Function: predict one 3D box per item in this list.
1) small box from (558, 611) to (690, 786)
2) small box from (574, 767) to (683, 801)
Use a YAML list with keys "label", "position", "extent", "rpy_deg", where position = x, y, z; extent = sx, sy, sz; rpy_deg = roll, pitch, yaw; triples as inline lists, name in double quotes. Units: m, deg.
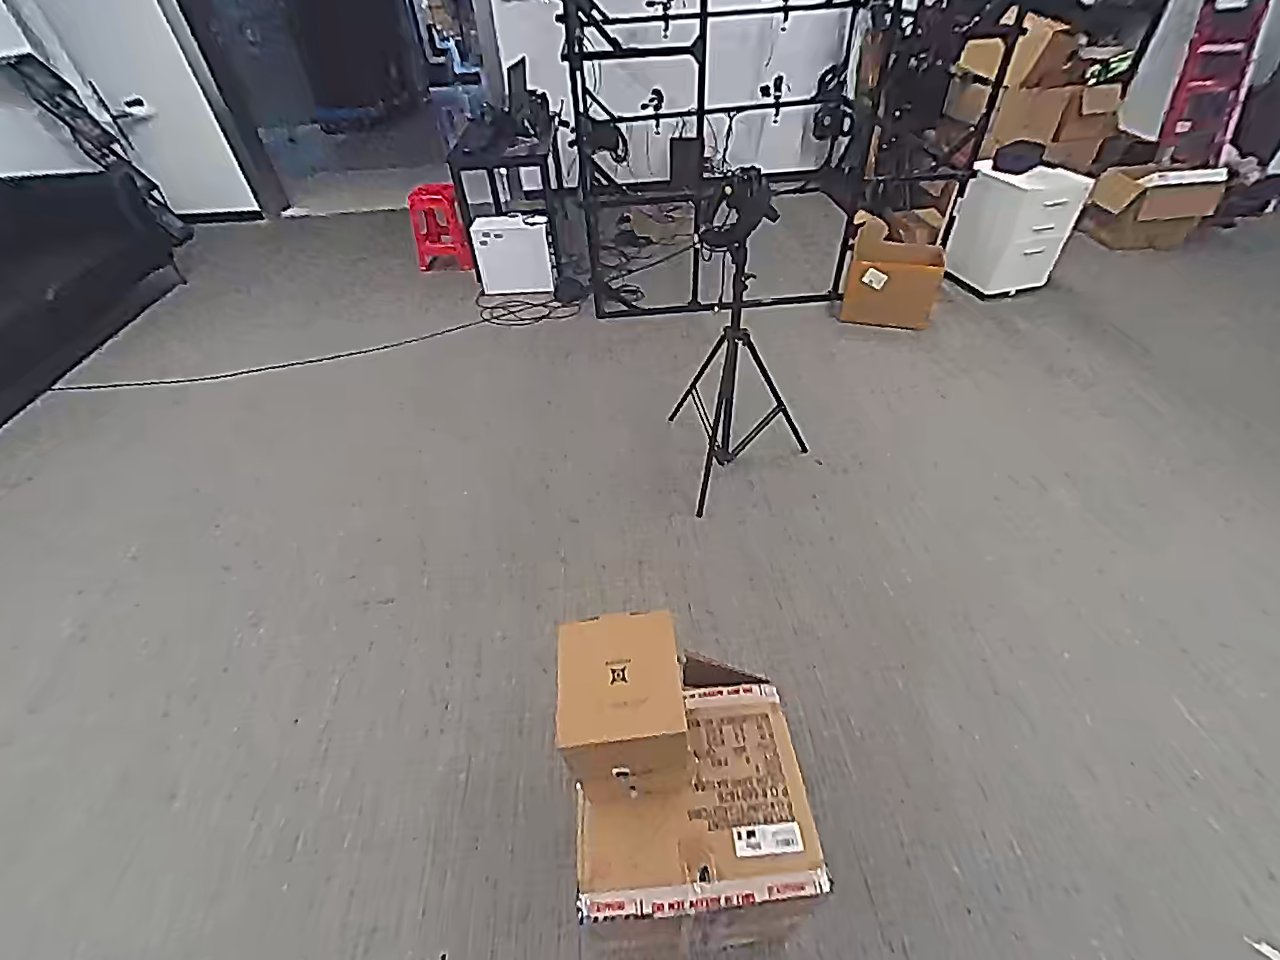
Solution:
- label: "small box"
  position: [-0.022, 0.316, 0.782]
  extent: [0.168, 0.176, 0.179]
  rpy_deg: [-7, 46, -1]
- label: "small box"
  position: [-0.020, 0.416, 0.912]
  extent: [0.168, 0.176, 0.179]
  rpy_deg: [-6, 46, -1]
